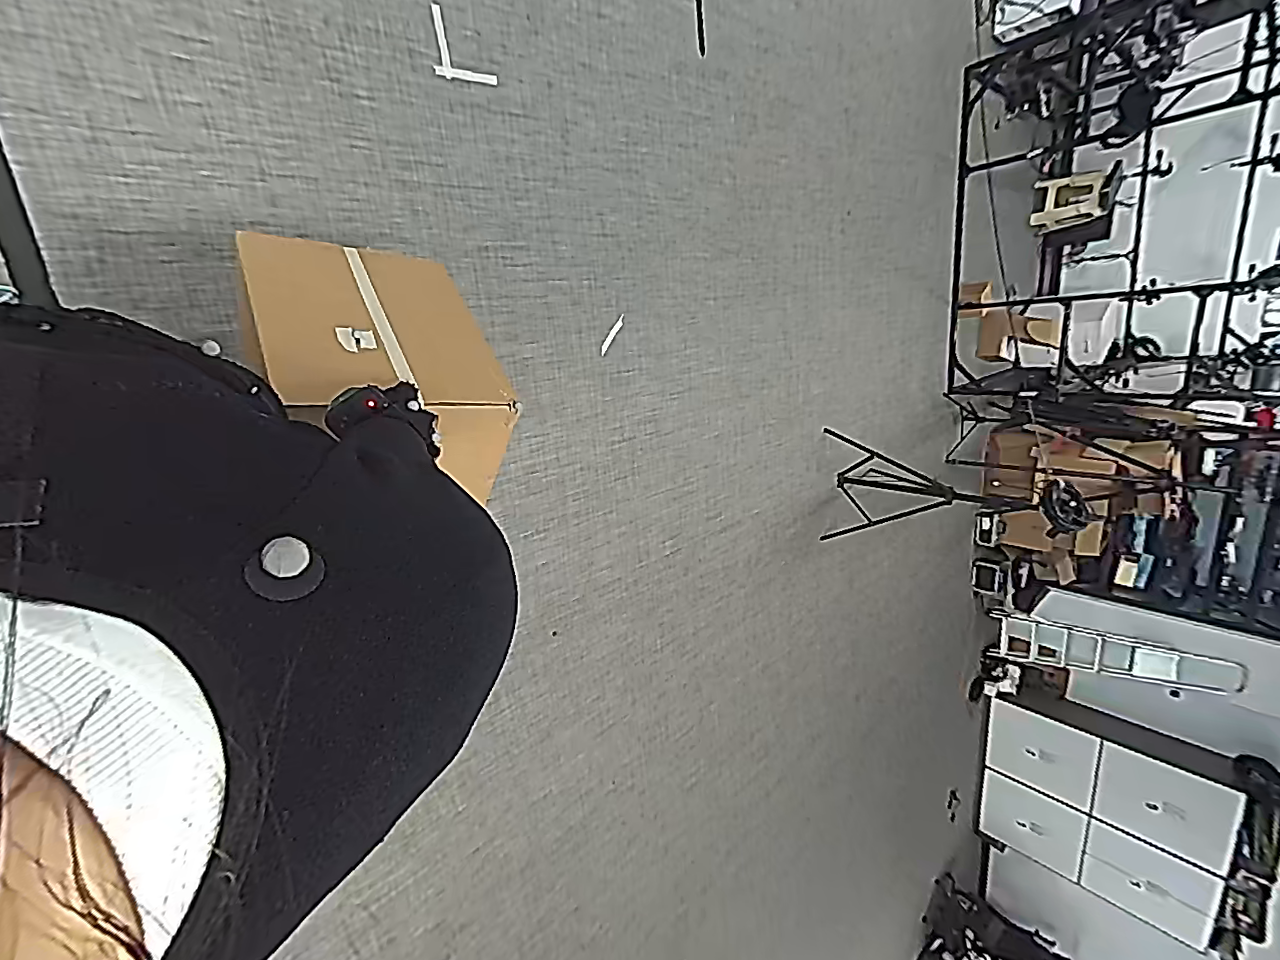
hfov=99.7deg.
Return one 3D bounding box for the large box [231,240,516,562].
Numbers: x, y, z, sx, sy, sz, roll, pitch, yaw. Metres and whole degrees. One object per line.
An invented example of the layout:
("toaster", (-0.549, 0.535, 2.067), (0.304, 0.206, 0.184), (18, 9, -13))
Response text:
("large box", (-0.465, -0.132, 0.909), (0.320, 0.408, 0.320), (-8, 143, -39))
